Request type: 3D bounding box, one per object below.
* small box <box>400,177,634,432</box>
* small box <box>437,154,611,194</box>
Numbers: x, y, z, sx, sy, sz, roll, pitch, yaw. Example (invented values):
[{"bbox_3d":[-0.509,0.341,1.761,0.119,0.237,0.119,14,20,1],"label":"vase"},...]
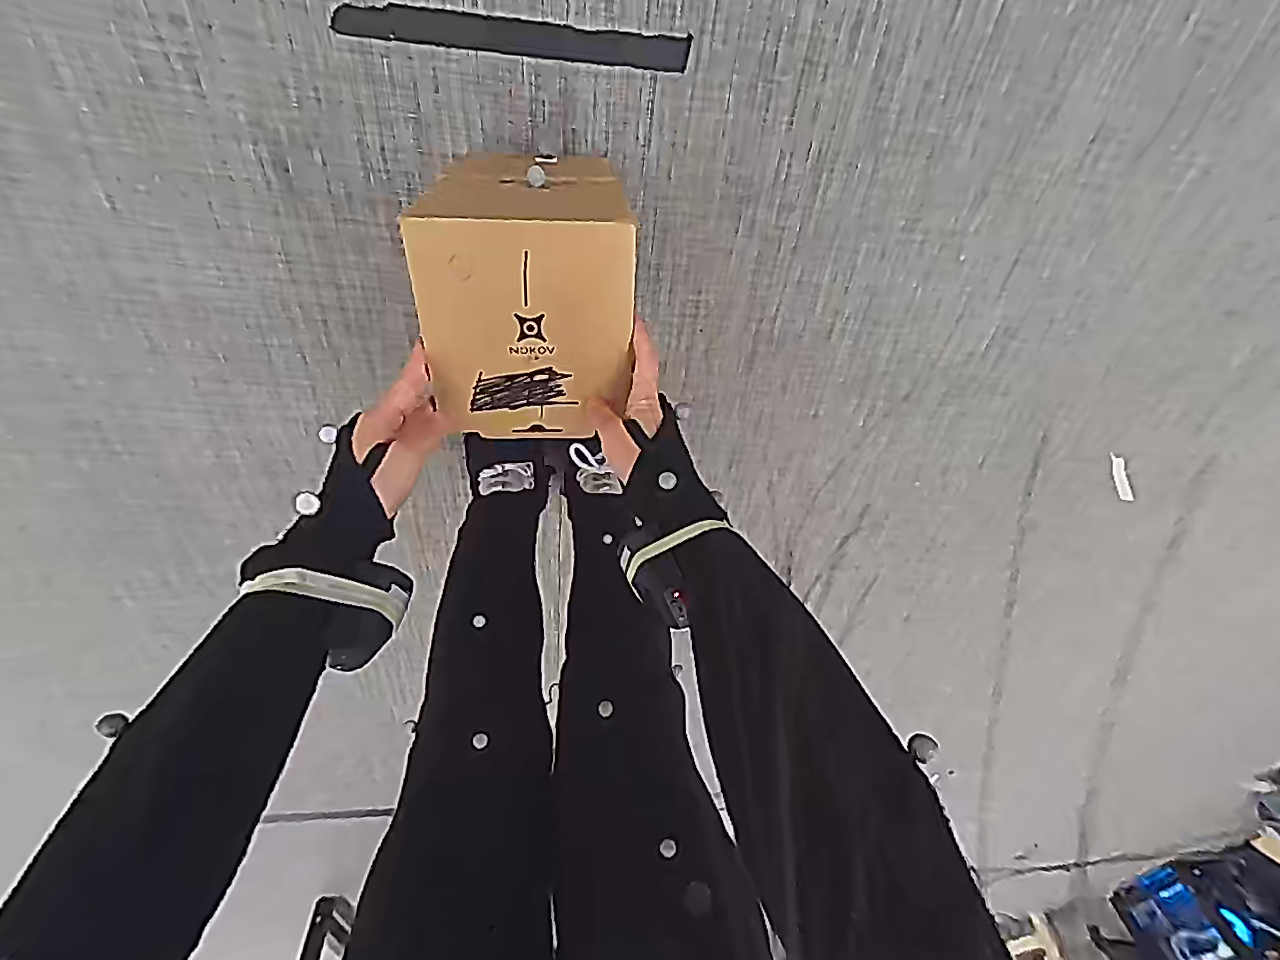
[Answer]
[{"bbox_3d":[-0.097,-0.161,0.493,0.168,0.176,0.179,-2,127,-7],"label":"small box"},{"bbox_3d":[-0.119,-0.261,0.622,0.168,0.176,0.179,-3,127,-6],"label":"small box"}]
